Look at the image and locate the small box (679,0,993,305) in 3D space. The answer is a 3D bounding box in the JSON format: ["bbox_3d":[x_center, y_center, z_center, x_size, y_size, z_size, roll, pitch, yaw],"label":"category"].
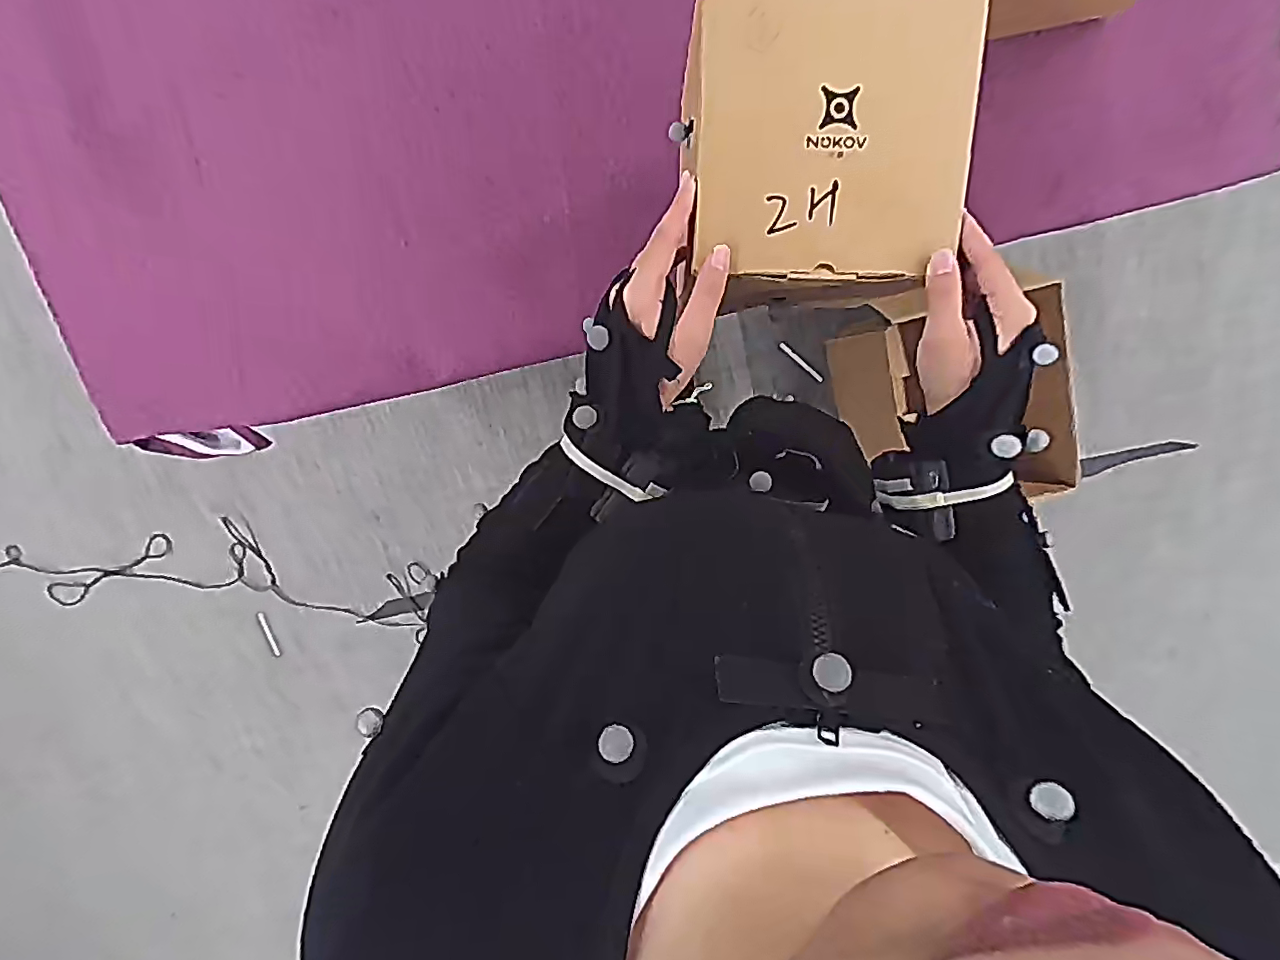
[{"bbox_3d":[0.118,-0.233,0.400,0.168,0.176,0.179,1,102,0],"label":"small box"}]
